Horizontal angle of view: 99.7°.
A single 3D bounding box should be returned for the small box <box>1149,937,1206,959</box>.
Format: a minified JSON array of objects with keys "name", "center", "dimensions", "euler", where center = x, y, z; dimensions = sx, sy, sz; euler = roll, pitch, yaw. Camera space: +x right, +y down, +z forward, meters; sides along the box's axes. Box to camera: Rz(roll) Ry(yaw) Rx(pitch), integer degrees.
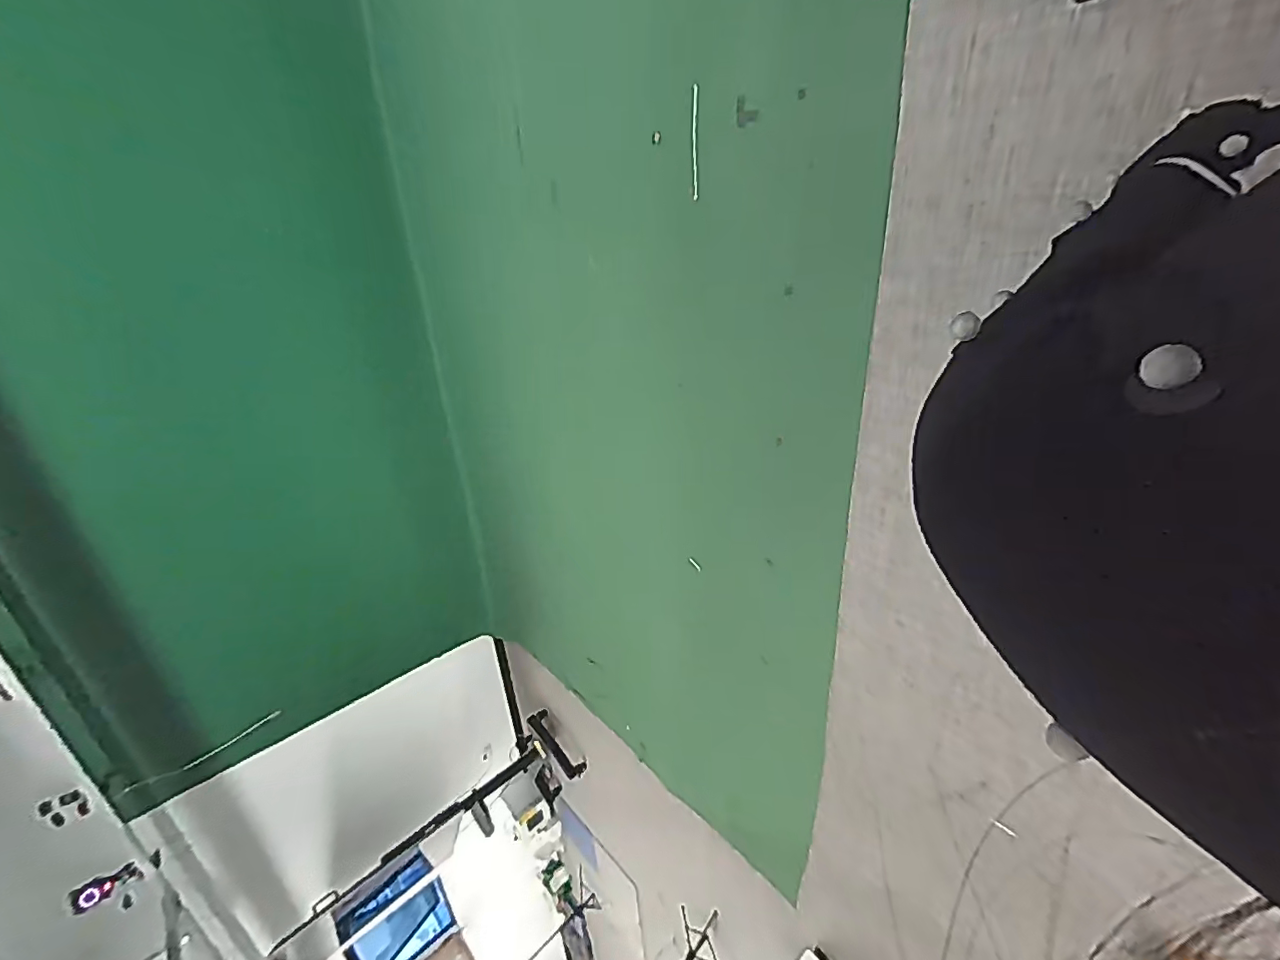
[{"name":"small box","center":[1.387,1.324,1.359],"dimensions":[0.168,0.176,0.179],"euler":[23,125,43]}]
